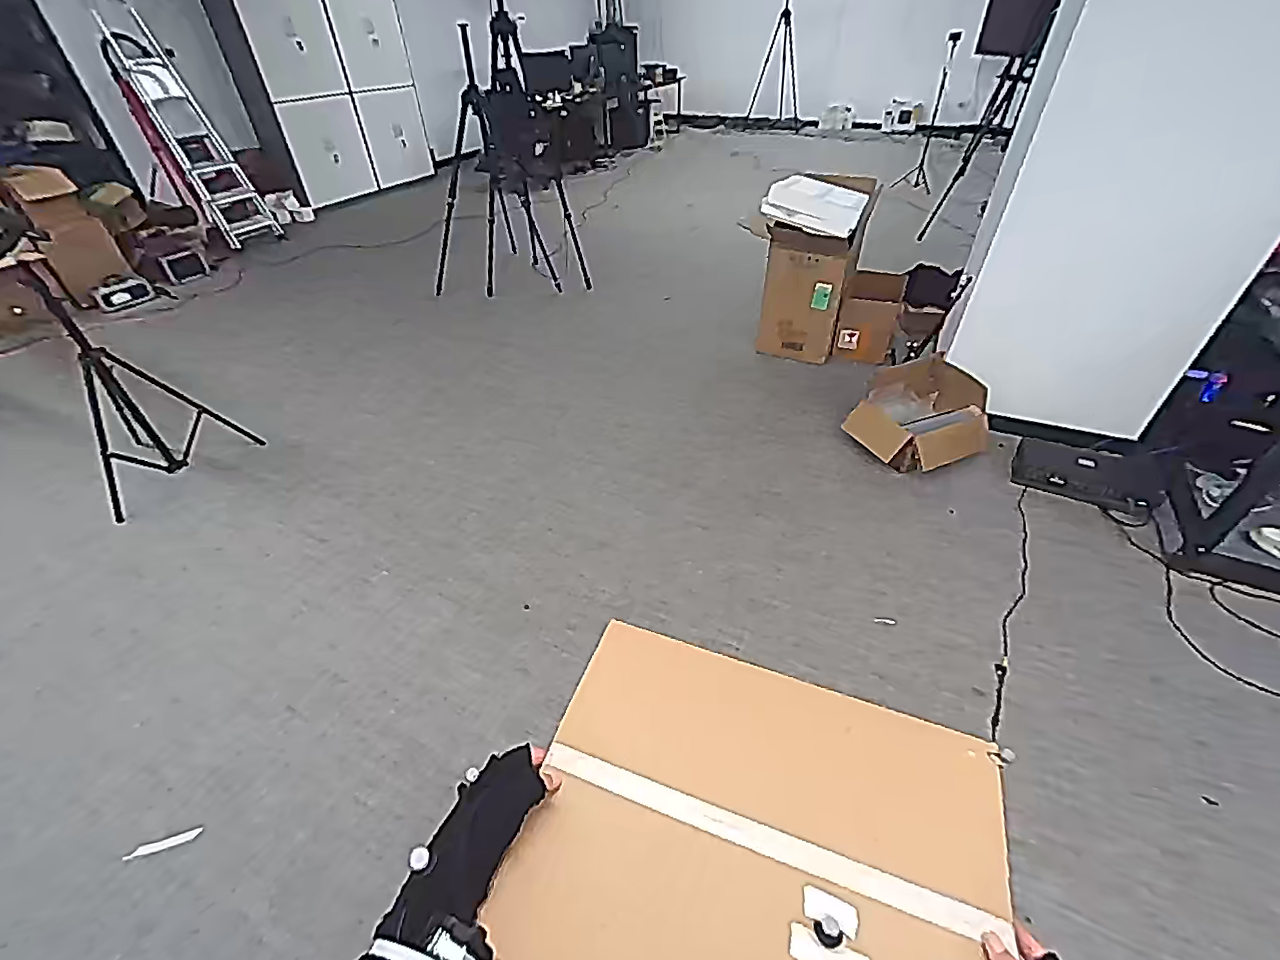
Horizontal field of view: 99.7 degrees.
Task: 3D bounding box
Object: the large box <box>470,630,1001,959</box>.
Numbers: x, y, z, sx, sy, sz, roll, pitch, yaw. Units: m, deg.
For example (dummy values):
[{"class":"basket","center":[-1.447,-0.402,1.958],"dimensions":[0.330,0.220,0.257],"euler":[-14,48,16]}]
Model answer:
[{"class":"large box","center":[0.099,0.423,0.581],"dimensions":[0.408,0.320,0.320],"euler":[14,47,15]}]
